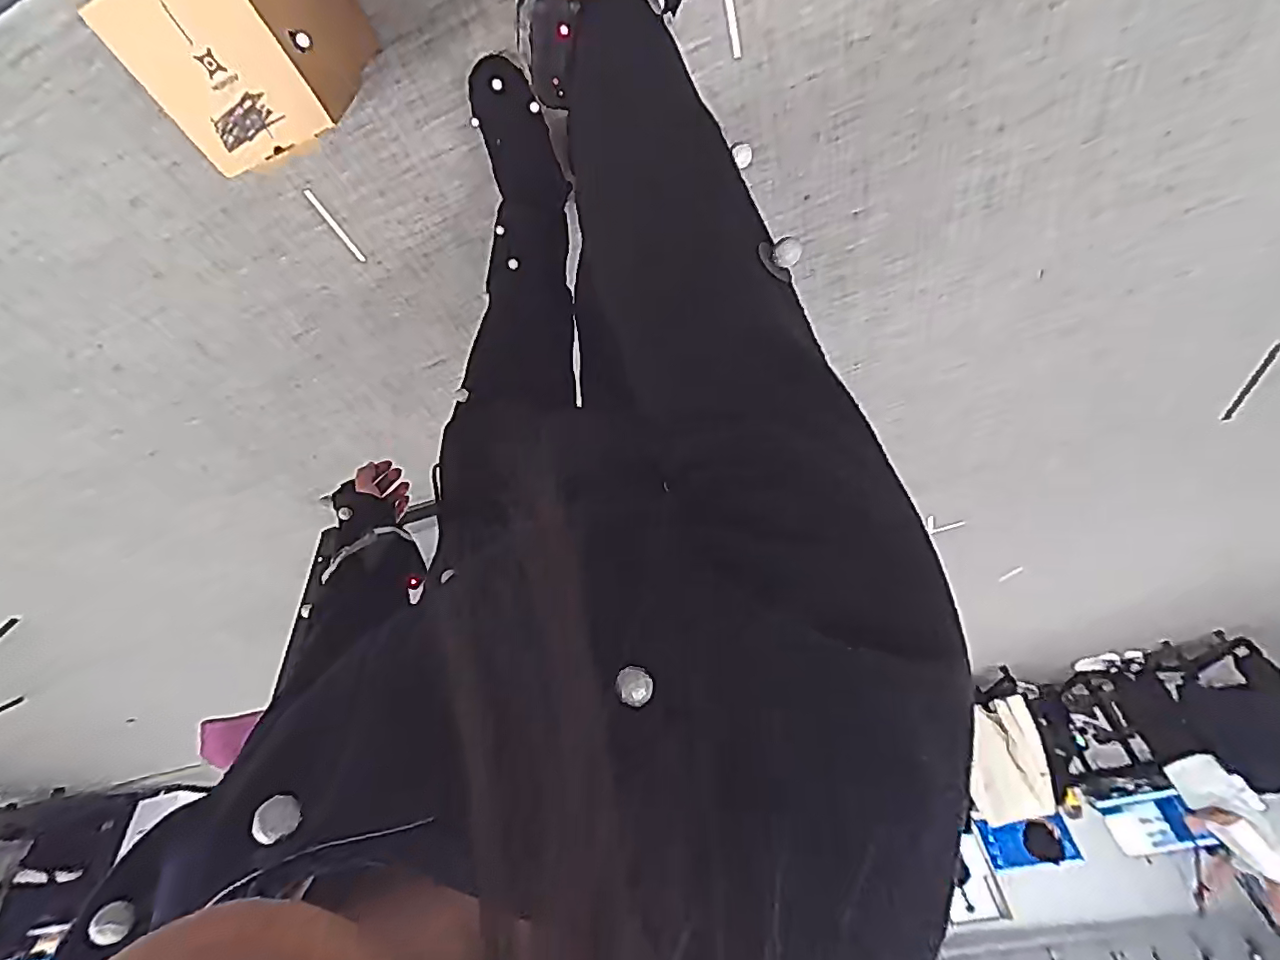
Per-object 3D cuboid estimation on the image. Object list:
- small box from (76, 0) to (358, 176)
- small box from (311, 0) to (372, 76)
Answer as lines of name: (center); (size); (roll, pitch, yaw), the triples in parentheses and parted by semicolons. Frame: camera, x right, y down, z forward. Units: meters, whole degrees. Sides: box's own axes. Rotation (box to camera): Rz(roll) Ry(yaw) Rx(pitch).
small box: (-0.472, -0.508, 0.641); (0.168, 0.176, 0.179); (-17, 140, 10)
small box: (-0.498, -0.635, 0.743); (0.179, 0.176, 0.168); (-18, 140, 13)
